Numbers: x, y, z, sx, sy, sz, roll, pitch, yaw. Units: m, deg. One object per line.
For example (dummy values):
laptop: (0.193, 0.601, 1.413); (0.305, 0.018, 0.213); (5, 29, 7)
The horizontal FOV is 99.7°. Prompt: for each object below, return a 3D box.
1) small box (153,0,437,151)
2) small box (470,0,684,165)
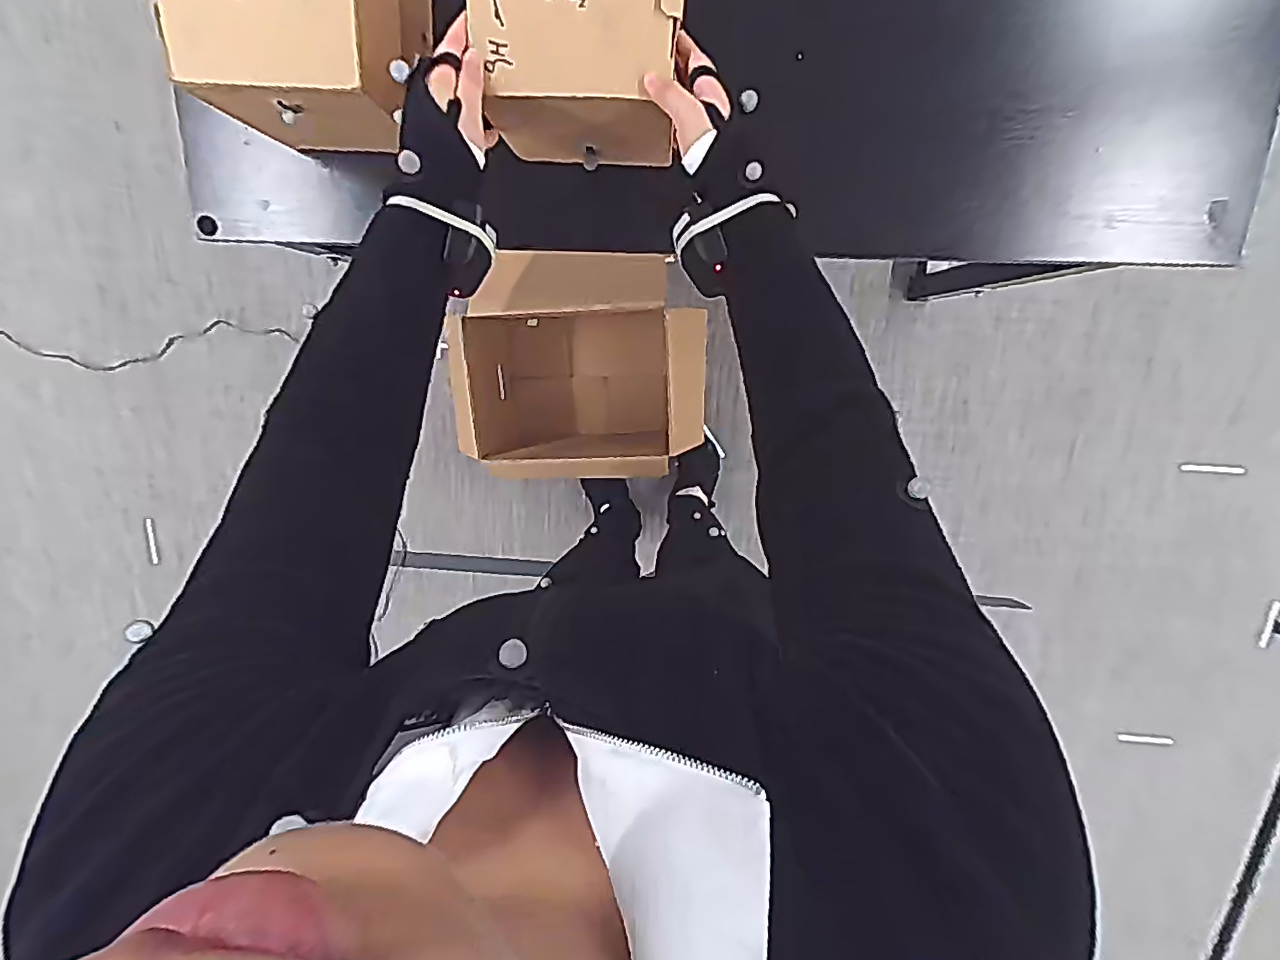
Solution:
small box: (-0.316, -0.436, 0.520); (0.179, 0.176, 0.168); (3, 105, 1)
small box: (-0.050, -0.417, 0.512); (0.179, 0.176, 0.168); (3, 103, 1)
